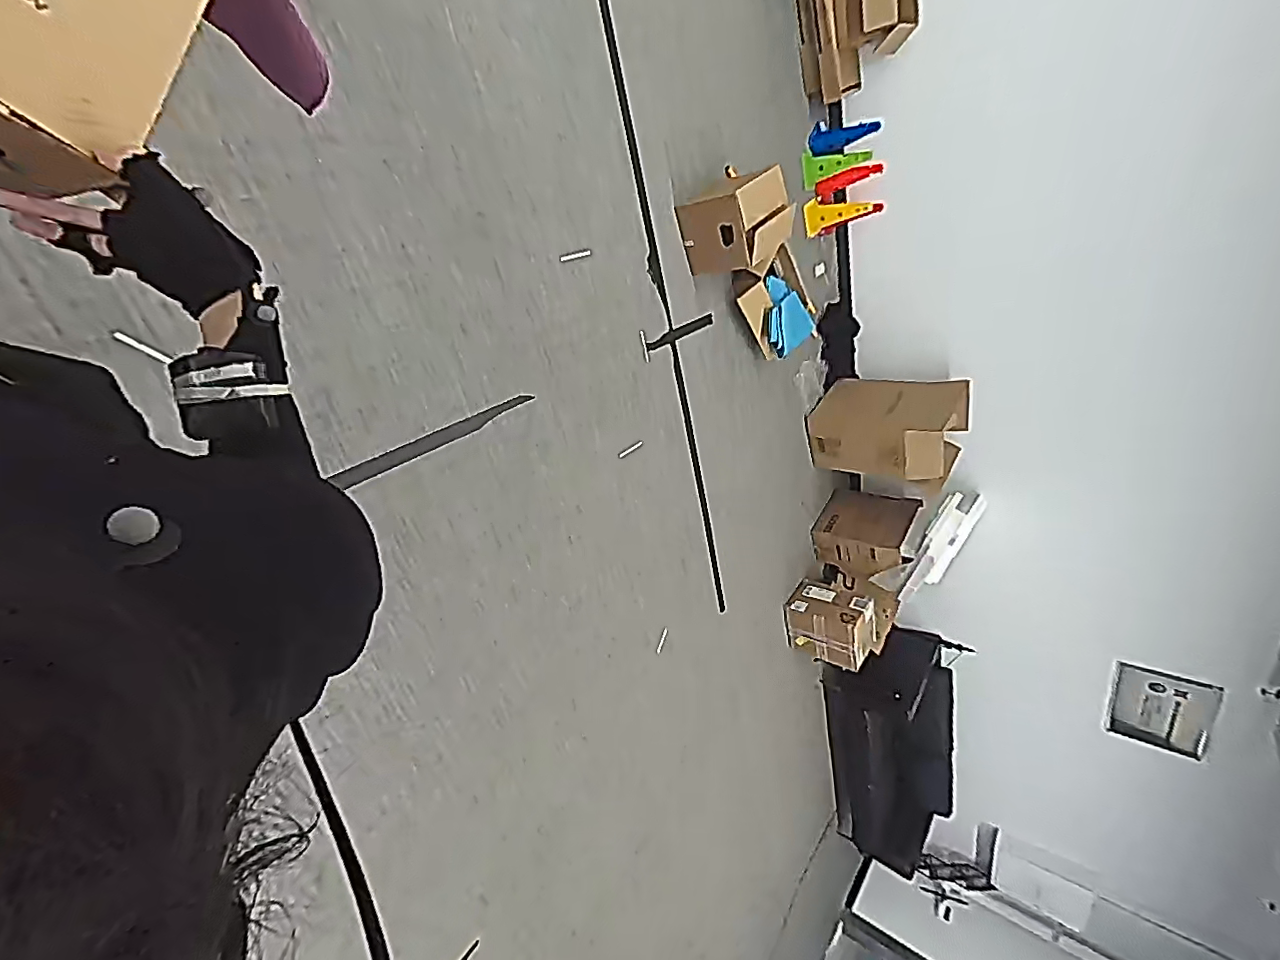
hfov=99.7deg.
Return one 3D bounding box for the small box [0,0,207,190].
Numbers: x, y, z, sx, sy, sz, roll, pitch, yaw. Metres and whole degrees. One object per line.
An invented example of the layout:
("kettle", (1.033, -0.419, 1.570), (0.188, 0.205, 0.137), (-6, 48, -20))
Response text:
("small box", (-0.449, -0.325, 0.358), (0.168, 0.176, 0.179), (36, 61, -66))
